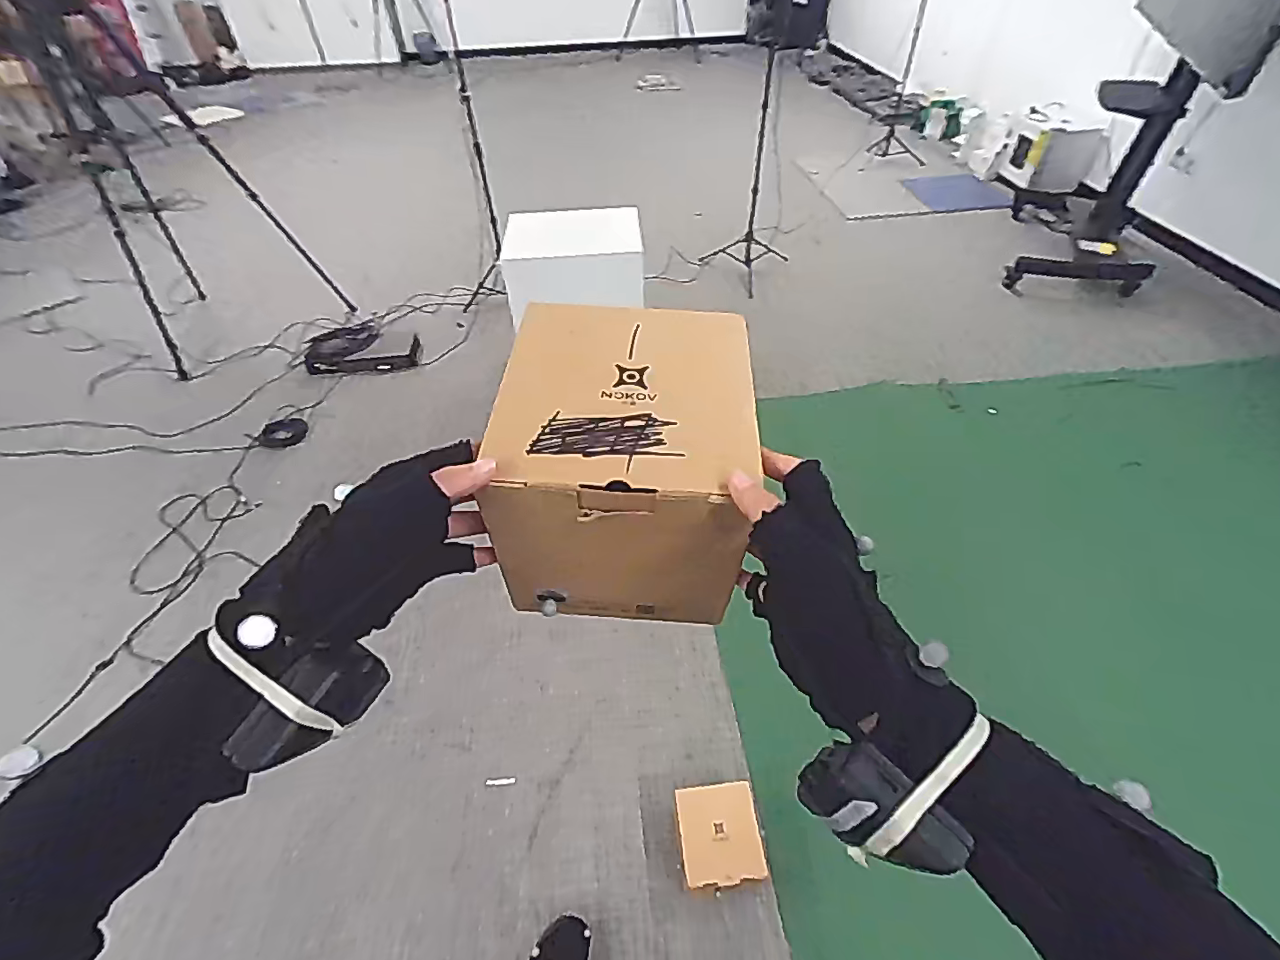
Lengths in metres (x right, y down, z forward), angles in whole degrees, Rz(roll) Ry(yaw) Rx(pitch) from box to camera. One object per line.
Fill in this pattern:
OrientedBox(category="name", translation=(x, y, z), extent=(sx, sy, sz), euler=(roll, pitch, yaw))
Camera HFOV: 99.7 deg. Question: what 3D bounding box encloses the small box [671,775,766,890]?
OrientedBox(category="small box", translation=(0.162, 0.773, 1.183), extent=(0.168, 0.176, 0.179), euler=(-6, 48, -3))
